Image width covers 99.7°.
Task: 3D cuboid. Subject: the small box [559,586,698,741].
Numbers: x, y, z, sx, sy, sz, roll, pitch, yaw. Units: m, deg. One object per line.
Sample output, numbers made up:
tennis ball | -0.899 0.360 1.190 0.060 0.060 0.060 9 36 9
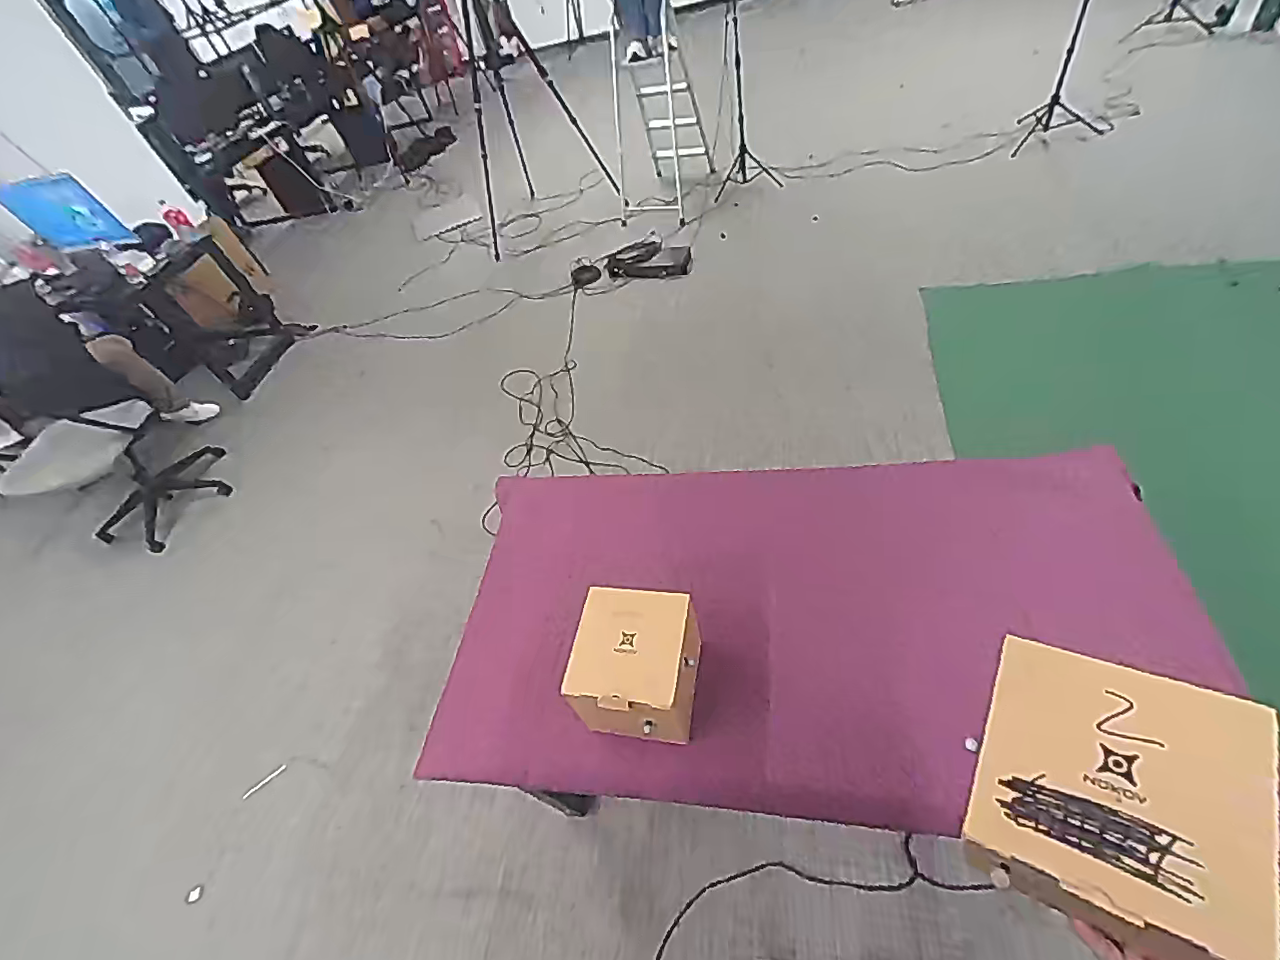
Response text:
small box | -0.005 0.292 0.856 0.168 0.176 0.179 2 49 16
